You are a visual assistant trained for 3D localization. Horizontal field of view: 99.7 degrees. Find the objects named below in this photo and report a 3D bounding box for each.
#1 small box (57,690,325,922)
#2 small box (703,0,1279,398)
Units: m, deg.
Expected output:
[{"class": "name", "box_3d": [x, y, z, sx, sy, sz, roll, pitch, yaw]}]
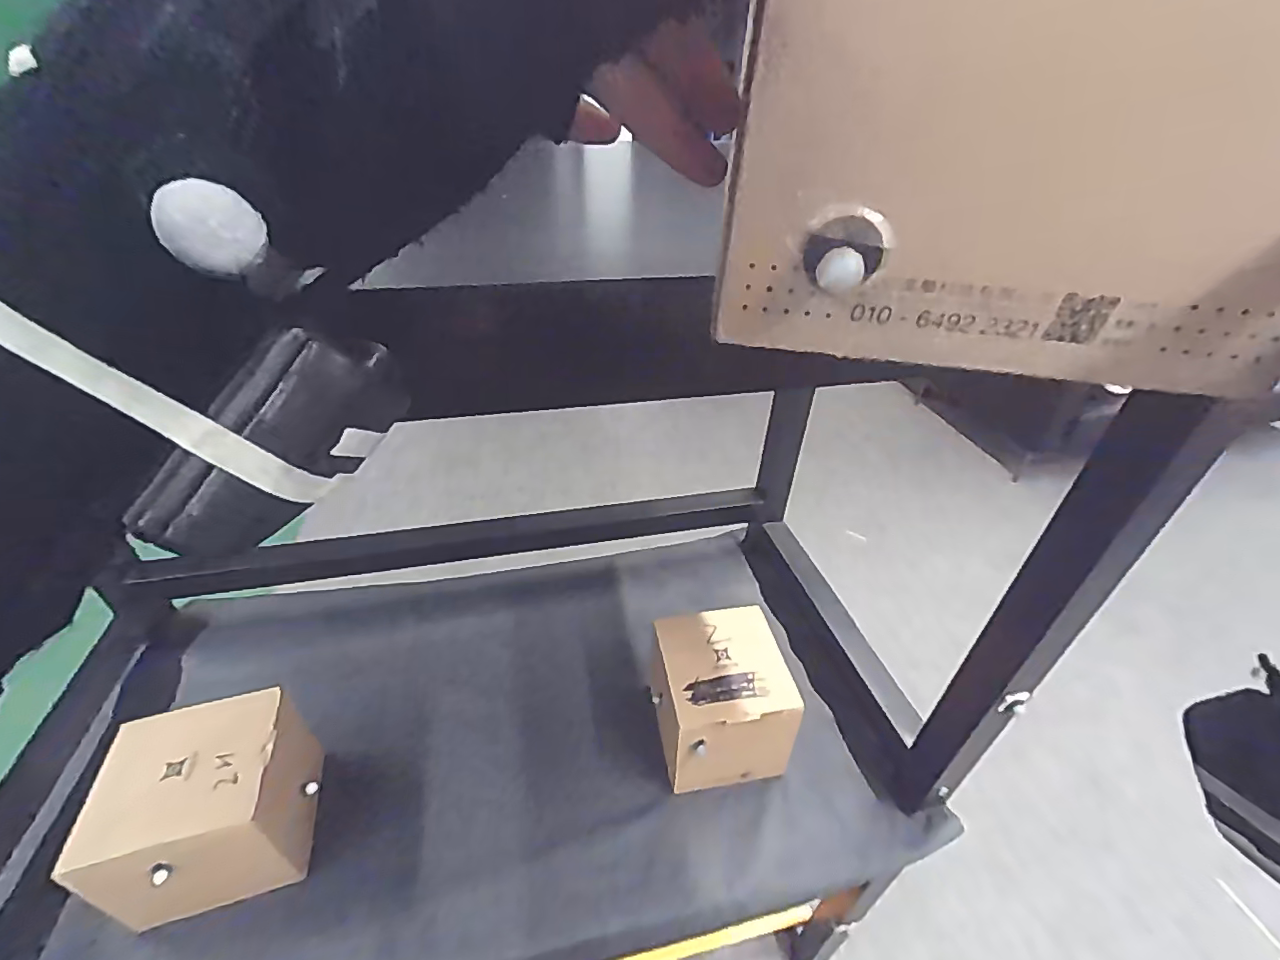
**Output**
[{"class": "small box", "box_3d": [-0.515, 0.393, 0.657, 0.179, 0.176, 0.168, -9, 37, -15]}, {"class": "small box", "box_3d": [0.115, -0.146, 0.185, 0.168, 0.176, 0.179, 8, 42, 5]}]
